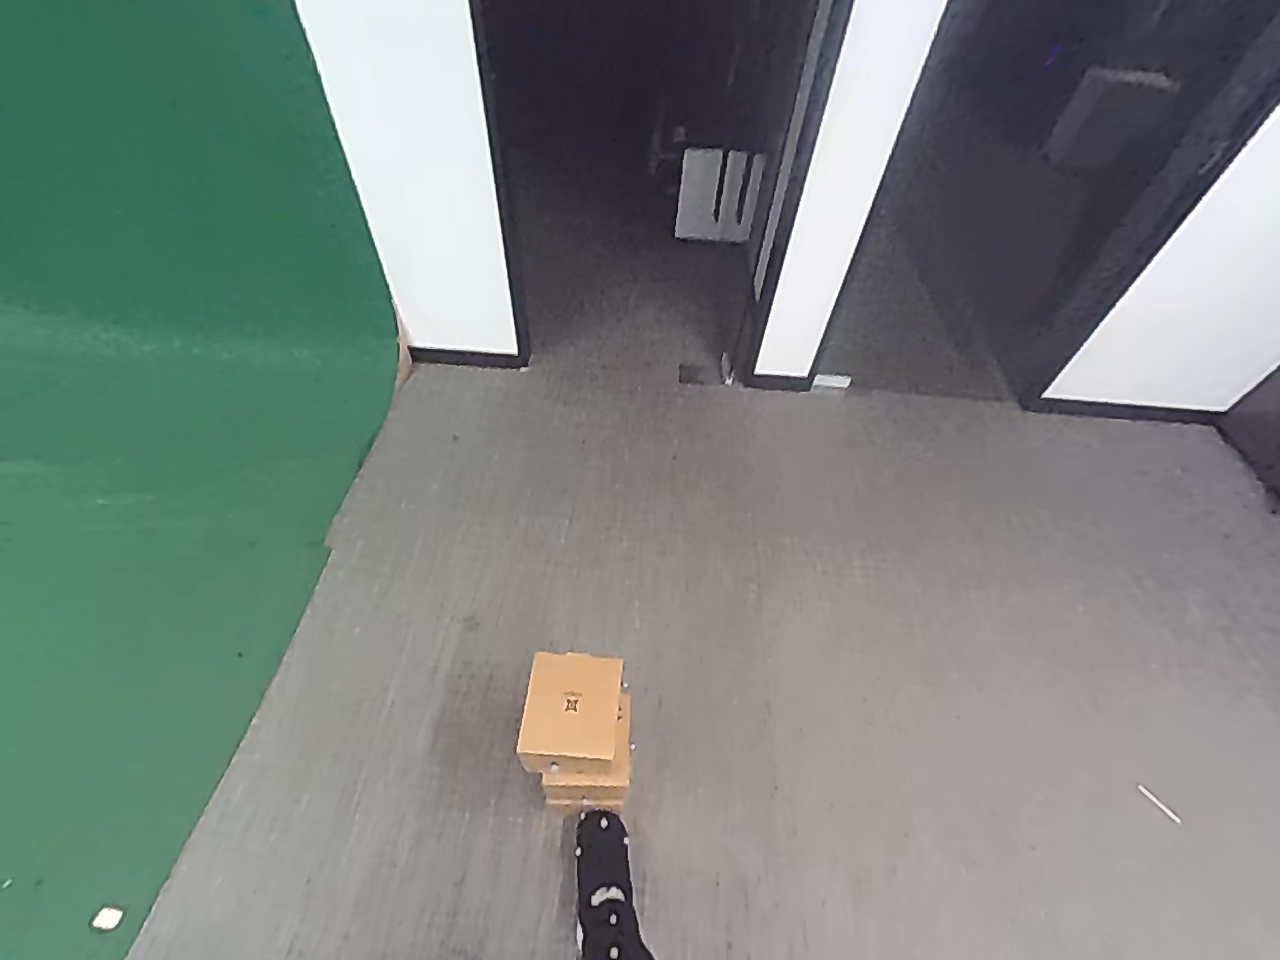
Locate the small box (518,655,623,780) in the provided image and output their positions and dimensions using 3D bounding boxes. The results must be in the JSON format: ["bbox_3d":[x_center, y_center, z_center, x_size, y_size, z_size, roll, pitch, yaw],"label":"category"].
[{"bbox_3d":[-0.120,0.449,1.014,0.168,0.176,0.179,4,50,0],"label":"small box"}]

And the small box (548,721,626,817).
[{"bbox_3d":[-0.116,0.672,1.254,0.168,0.176,0.179,2,50,-3],"label":"small box"}]
